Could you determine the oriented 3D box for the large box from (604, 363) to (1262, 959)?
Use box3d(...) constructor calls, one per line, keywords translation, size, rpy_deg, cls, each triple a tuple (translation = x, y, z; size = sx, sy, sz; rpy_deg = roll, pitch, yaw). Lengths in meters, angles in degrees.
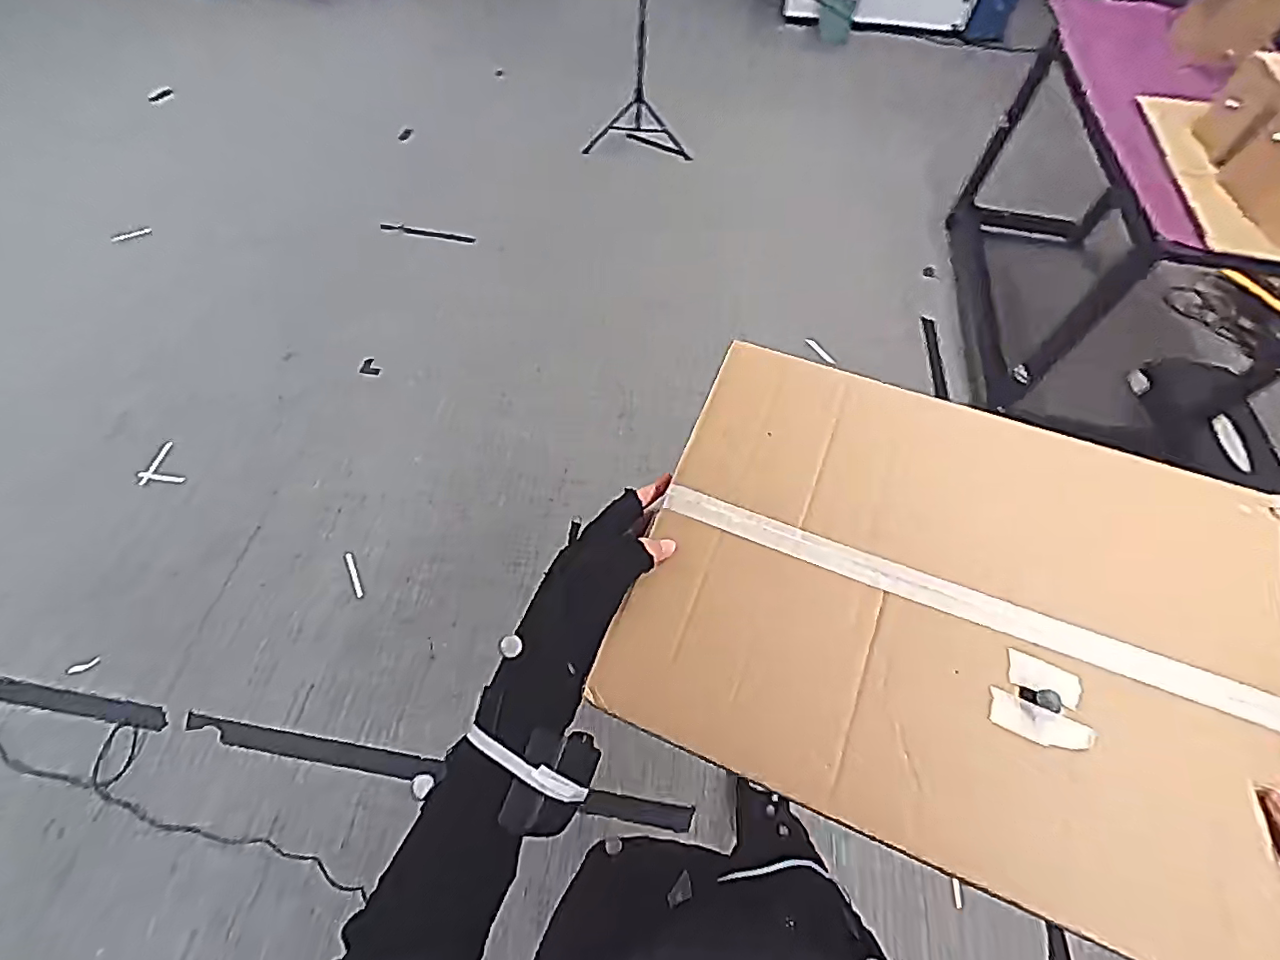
box3d(translation=(0.219, 0.145, 0.523), size=(0.408, 0.320, 0.320), rpy_deg=(20, 70, 12), cls="large box")
